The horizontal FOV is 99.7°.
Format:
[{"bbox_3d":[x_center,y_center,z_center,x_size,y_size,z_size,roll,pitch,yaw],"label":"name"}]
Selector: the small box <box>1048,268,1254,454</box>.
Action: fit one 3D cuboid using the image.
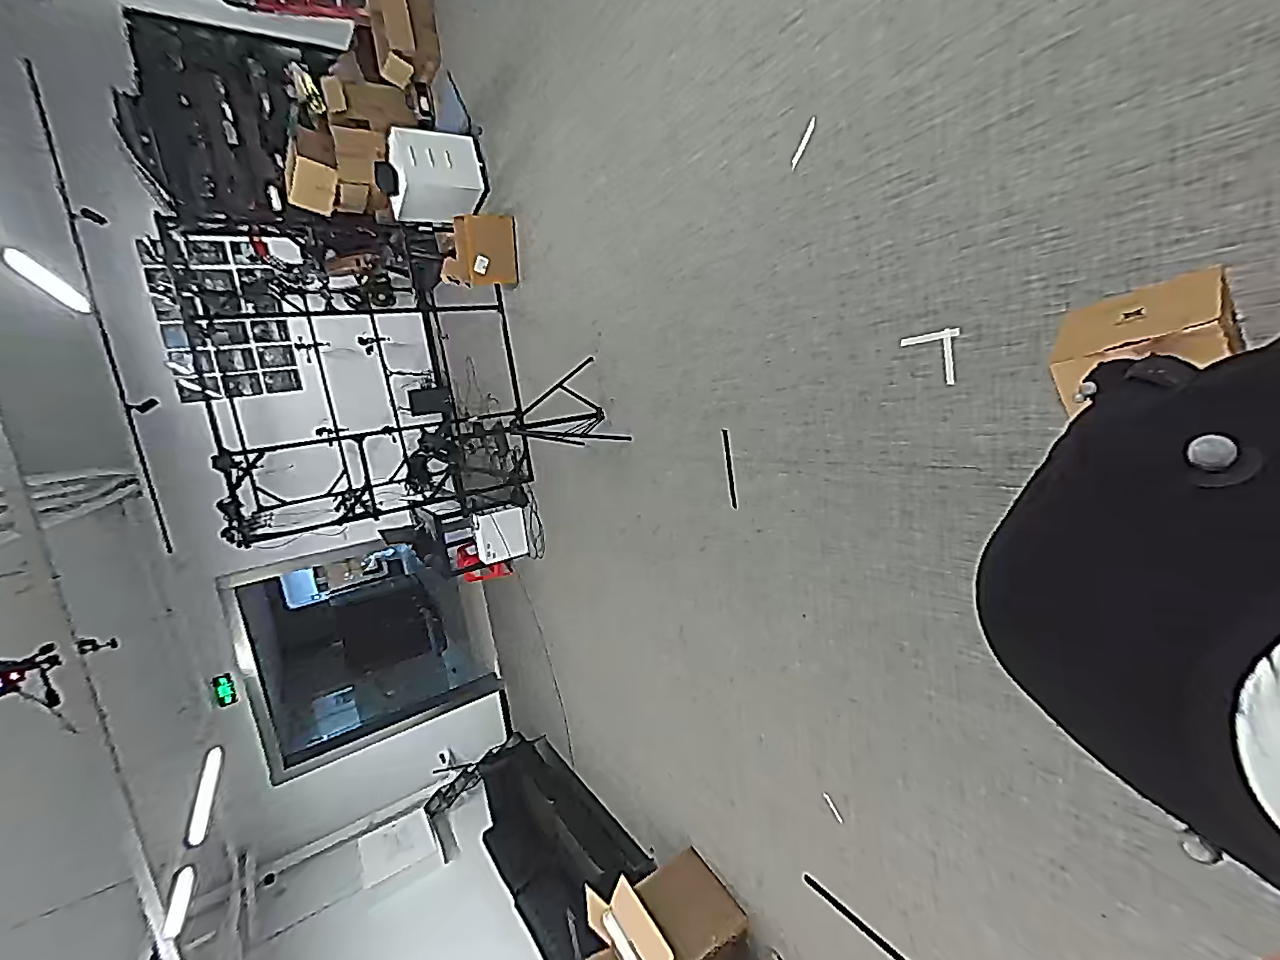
[{"bbox_3d":[0.698,-0.148,0.738,0.168,0.179,0.176,-12,116,53],"label":"small box"}]
